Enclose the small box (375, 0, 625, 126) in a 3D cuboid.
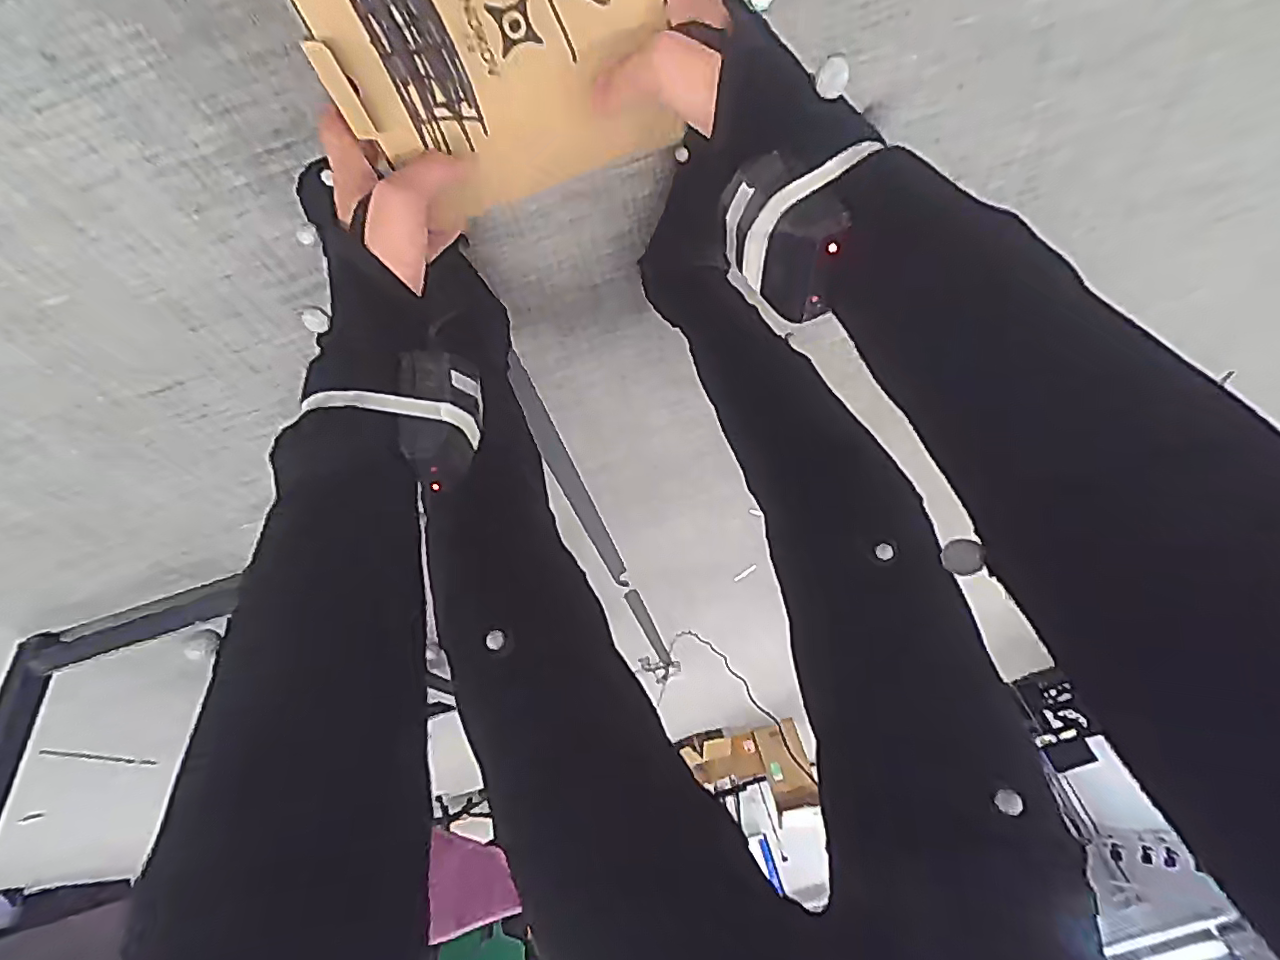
[{"bbox_3d":[-0.125,-0.422,0.410,0.168,0.176,0.179,-20,146,5],"label":"small box"}]
